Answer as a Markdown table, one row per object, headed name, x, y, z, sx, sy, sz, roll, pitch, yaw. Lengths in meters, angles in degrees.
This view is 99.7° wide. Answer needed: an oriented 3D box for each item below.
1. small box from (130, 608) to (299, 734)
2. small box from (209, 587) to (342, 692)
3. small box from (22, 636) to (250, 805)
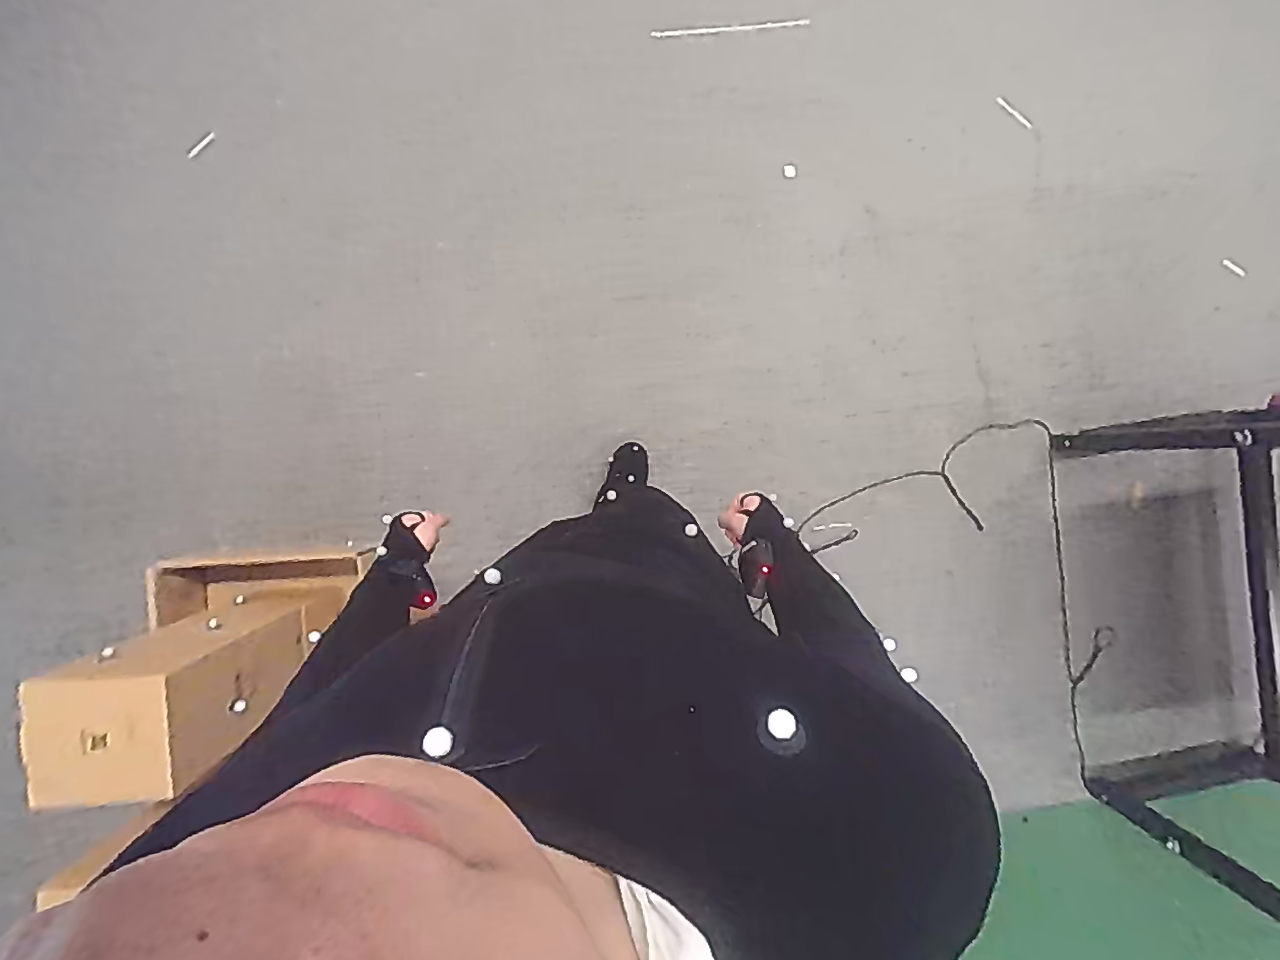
| name | x | y | z | sx | sy | sz | roll | pitch | yaw |
| --- | --- | --- | --- | --- | --- | --- | --- | --- | --- |
| small box | -0.720 | 0.326 | 0.938 | 0.179 | 0.176 | 0.168 | -2 | 92 | -3 |
| small box | -0.729 | 0.320 | 1.102 | 0.179 | 0.176 | 0.168 | -2 | 93 | -3 |
| small box | -0.704 | 0.332 | 0.775 | 0.179 | 0.176 | 0.168 | -1 | 93 | -5 |
